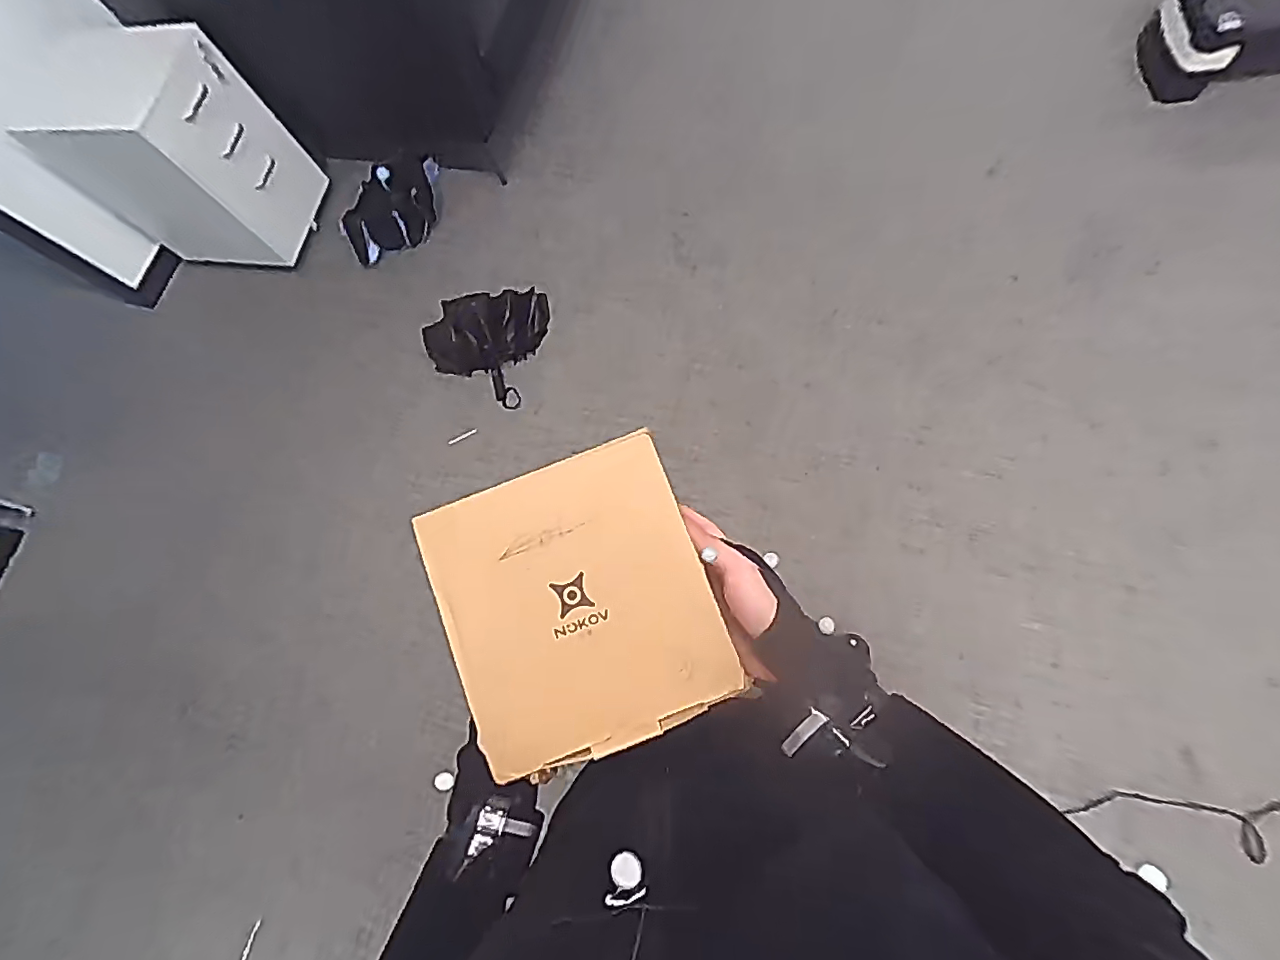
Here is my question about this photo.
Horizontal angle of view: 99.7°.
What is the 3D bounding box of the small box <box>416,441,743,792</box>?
[{"bbox_3d":[-0.036,0.093,0.417,0.168,0.176,0.179,-22,80,-1],"label":"small box"}]
